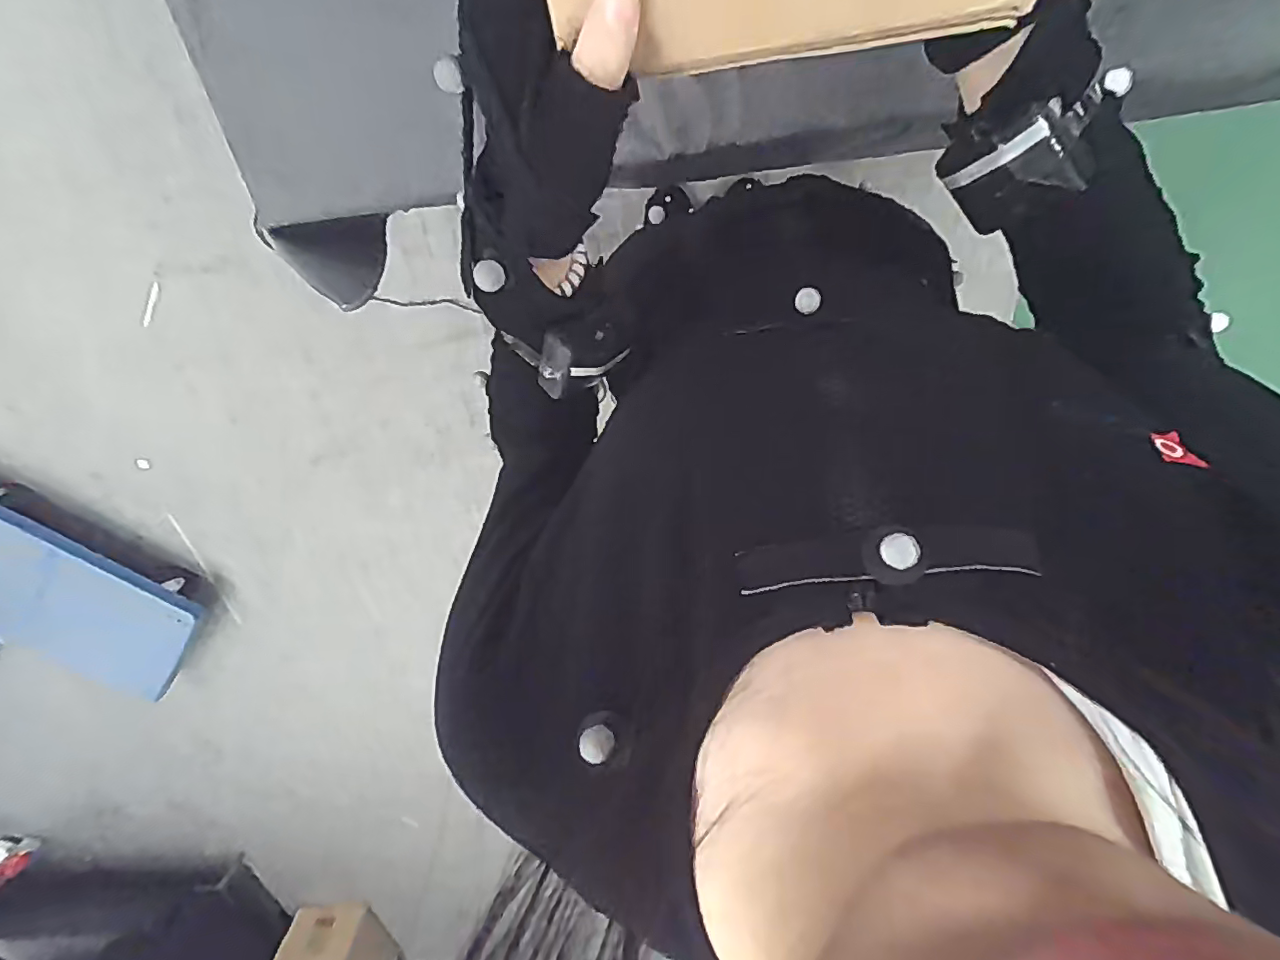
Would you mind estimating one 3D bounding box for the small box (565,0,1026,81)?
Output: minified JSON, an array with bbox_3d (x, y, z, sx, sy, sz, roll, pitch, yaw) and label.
[{"bbox_3d":[0.045,-0.269,0.159,0.179,0.168,0.176,-6,157,3],"label":"small box"}]
